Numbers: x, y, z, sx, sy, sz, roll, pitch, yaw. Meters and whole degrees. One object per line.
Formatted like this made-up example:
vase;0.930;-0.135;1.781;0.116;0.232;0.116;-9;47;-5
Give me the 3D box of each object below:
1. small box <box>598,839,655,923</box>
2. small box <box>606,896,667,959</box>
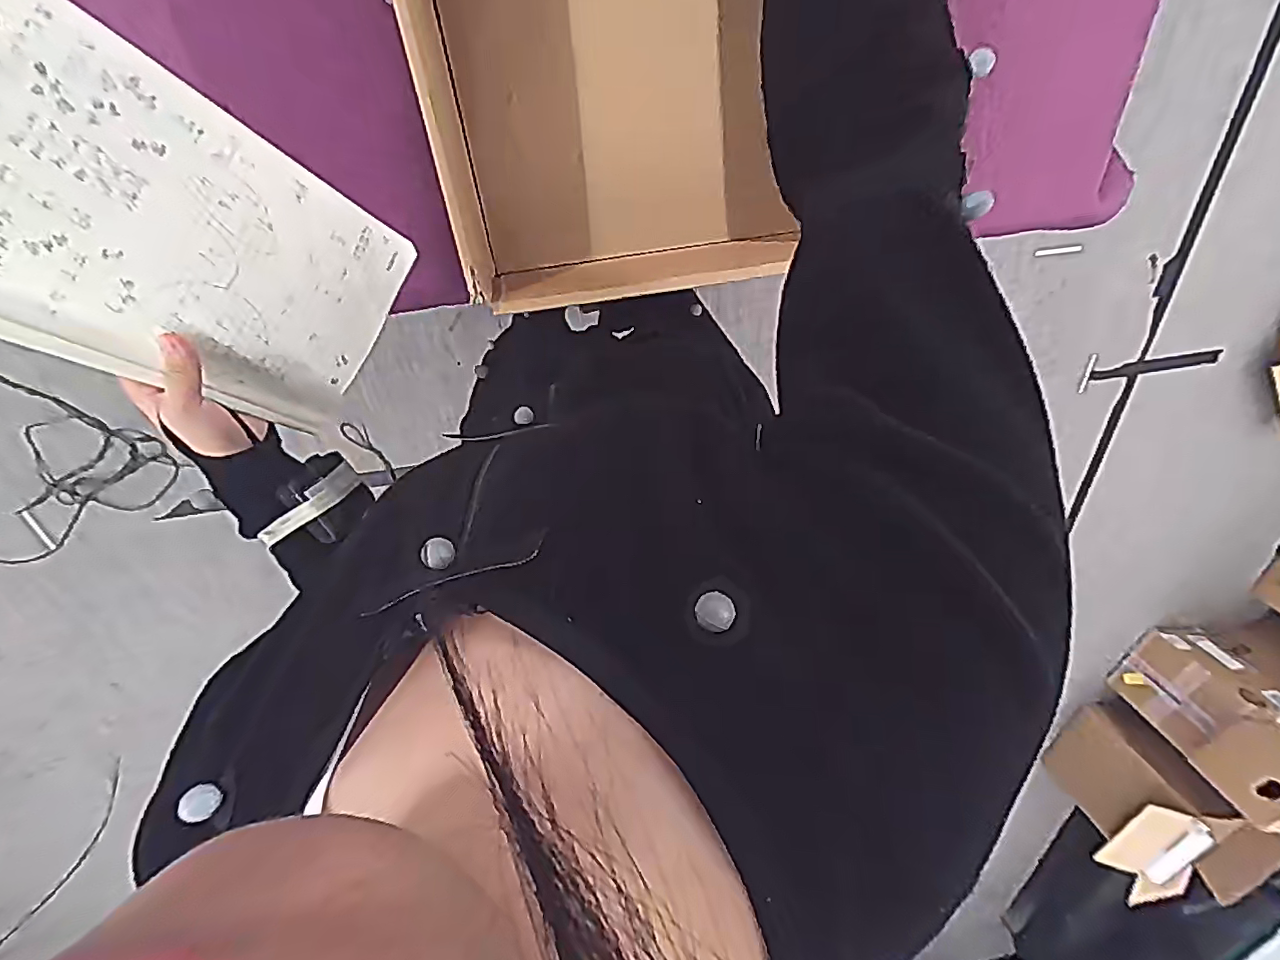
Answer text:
small box;-0.050;1.385;1.871;0.179;0.176;0.168;-7;124;-10
small box;-0.016;1.483;1.743;0.168;0.176;0.179;-5;123;-10
